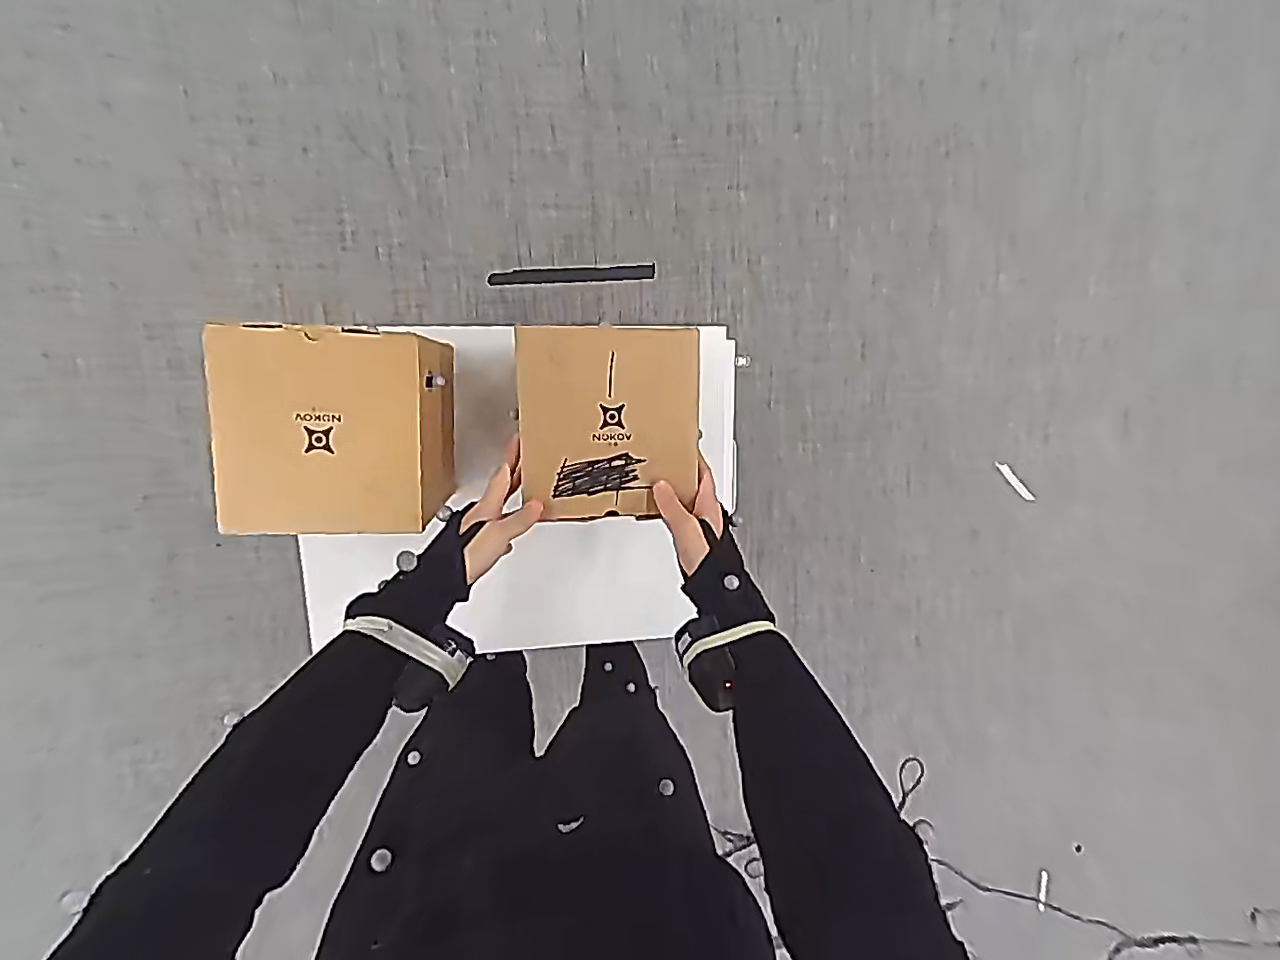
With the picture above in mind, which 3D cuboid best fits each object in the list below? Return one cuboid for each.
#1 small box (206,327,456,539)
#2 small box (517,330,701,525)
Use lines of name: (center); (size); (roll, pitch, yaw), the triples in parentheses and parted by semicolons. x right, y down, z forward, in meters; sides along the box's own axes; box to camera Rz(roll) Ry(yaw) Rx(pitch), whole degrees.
small box: (-0.280, -0.049, 0.533); (0.168, 0.176, 0.179); (0, 99, -10)
small box: (-0.037, -0.060, 0.569); (0.168, 0.176, 0.179); (-2, 100, -9)
